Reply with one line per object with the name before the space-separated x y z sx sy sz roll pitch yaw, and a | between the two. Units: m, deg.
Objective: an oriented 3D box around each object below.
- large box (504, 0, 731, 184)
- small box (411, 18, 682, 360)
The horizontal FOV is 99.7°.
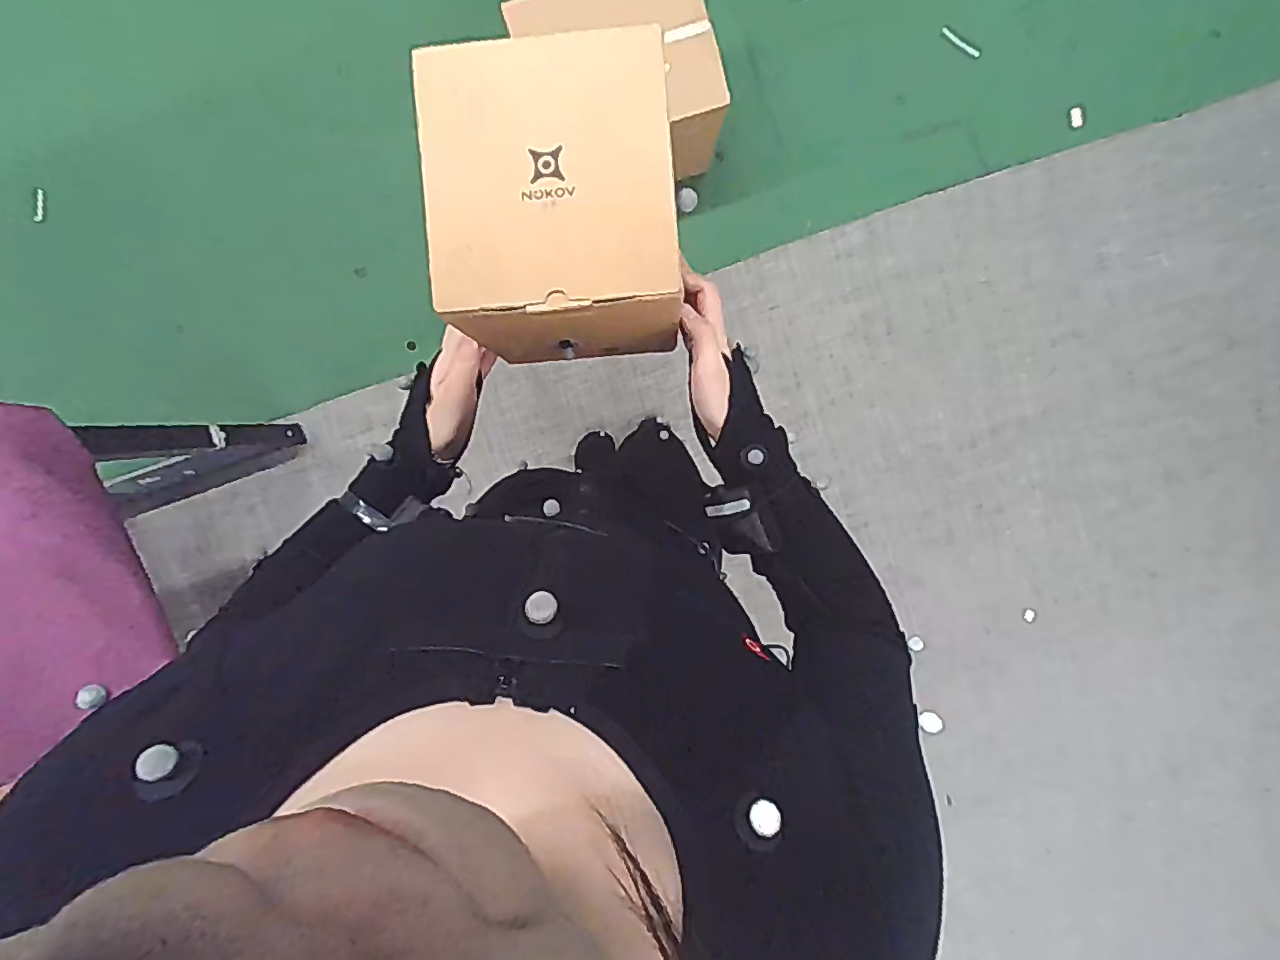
large box | -0.051 -0.871 1.252 0.408 0.320 0.320 -17 96 -2
small box | -0.058 -0.202 0.424 0.168 0.176 0.179 -4 92 2
